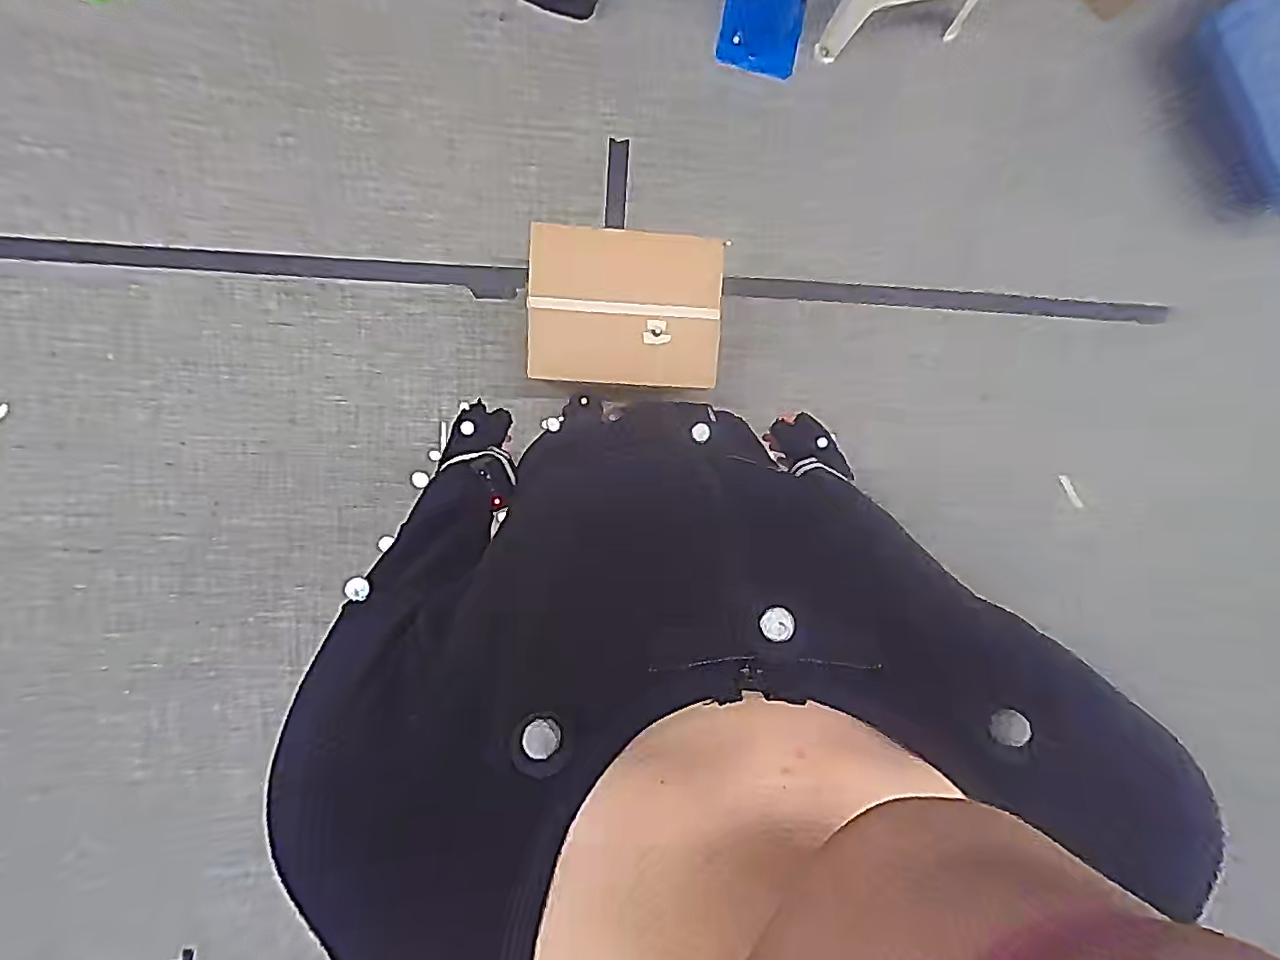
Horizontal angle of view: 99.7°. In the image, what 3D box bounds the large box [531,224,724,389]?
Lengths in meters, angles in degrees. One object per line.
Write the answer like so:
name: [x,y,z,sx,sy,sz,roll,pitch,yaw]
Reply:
large box: [-0.044,-0.382,1.277,0.408,0.320,0.320,2,99,-7]
